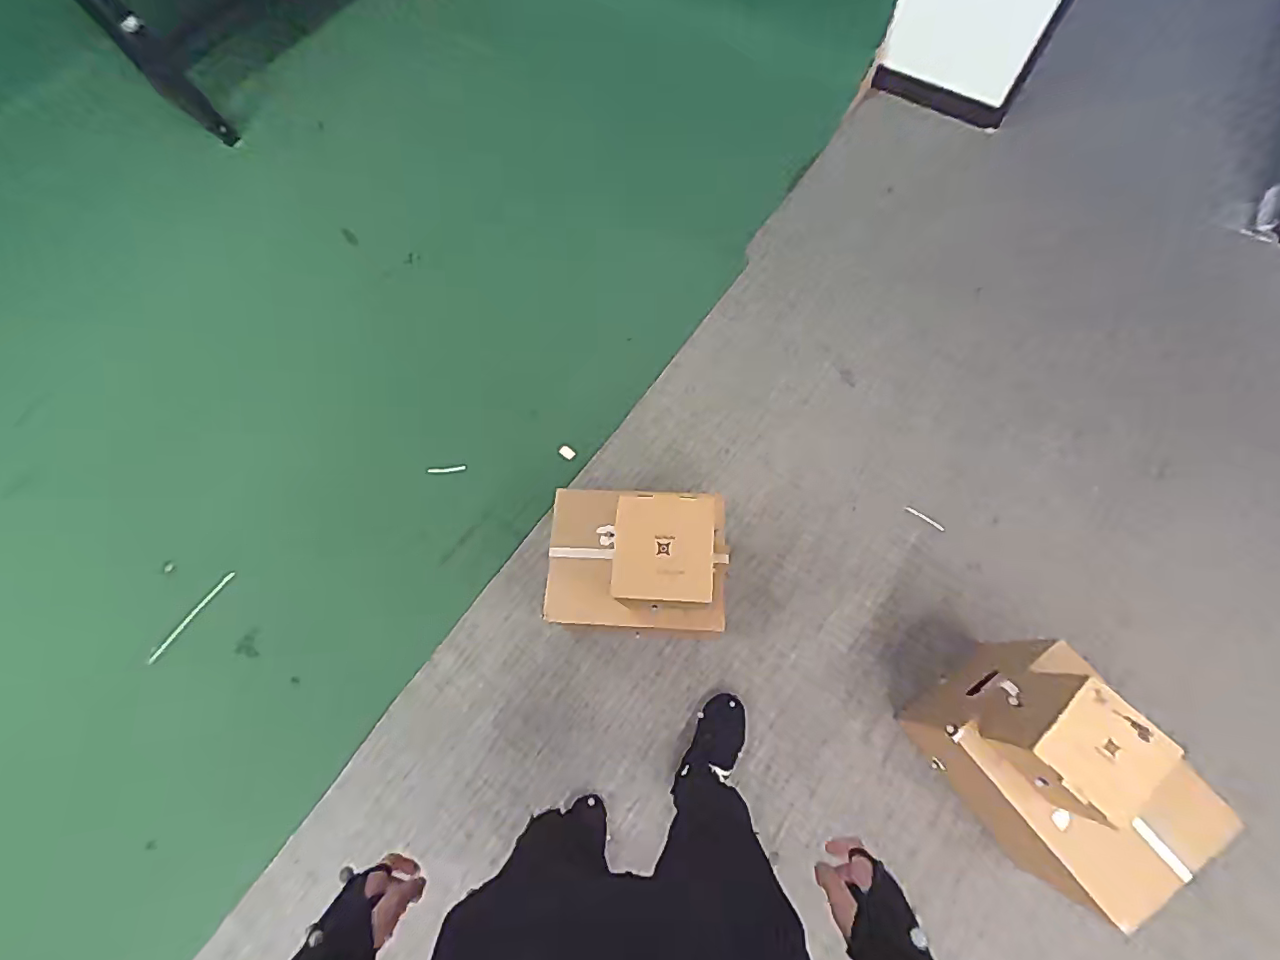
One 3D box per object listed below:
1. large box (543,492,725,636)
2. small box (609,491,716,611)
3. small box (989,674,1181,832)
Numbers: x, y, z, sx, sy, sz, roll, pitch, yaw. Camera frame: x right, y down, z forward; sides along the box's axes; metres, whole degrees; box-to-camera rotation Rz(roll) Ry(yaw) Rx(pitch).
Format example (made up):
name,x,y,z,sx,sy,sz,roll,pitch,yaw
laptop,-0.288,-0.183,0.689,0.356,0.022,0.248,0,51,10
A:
name,x,y,z,sx,sy,sz,roll,pitch,yaw
large box,0.004,0.224,1.362,0.408,0.320,0.320,1,70,6
small box,0.045,0.130,0.957,0.168,0.176,0.179,3,72,6
small box,0.764,0.468,0.956,0.179,0.176,0.168,-43,74,-8
